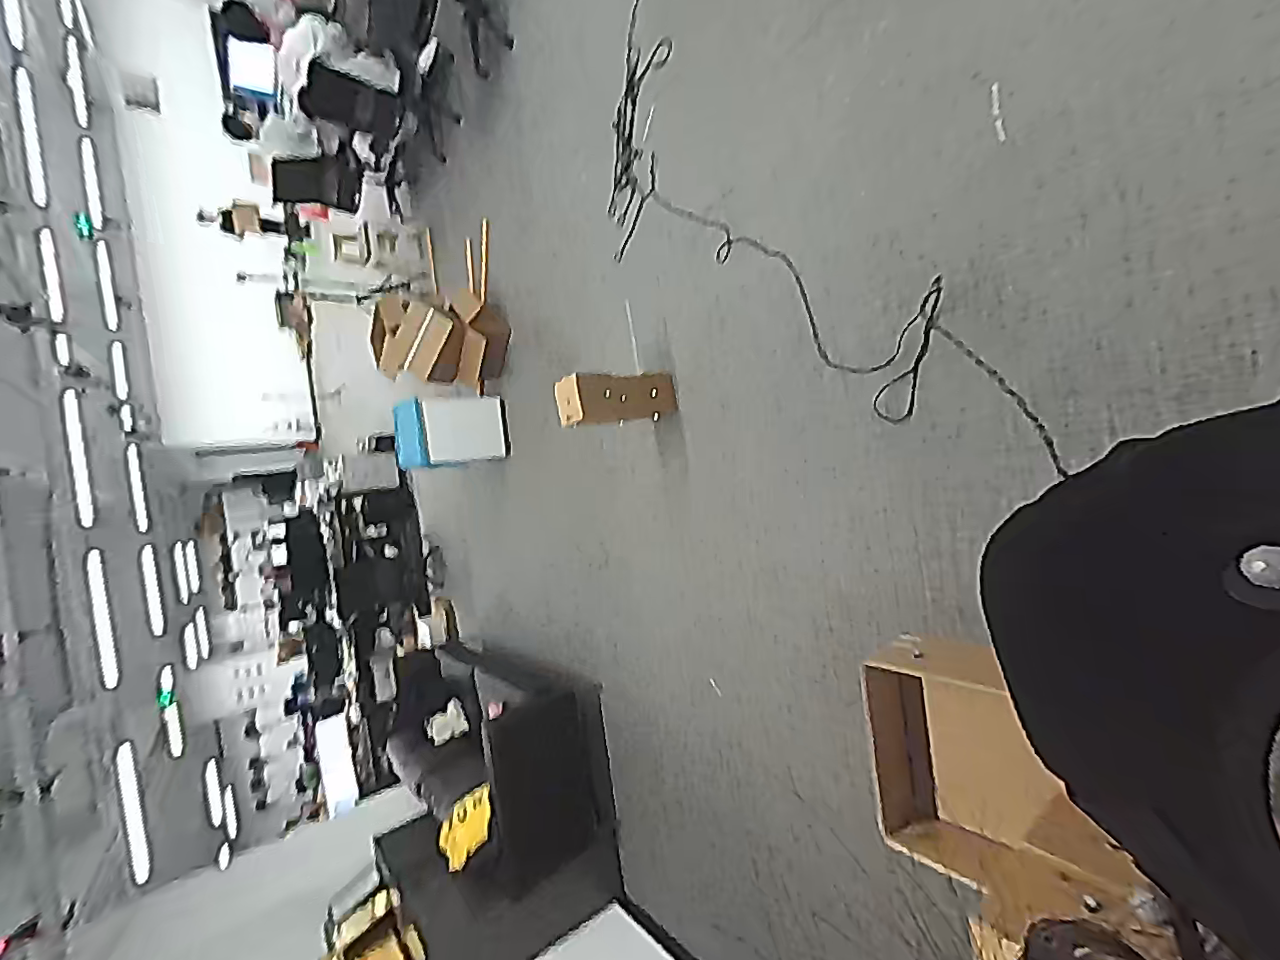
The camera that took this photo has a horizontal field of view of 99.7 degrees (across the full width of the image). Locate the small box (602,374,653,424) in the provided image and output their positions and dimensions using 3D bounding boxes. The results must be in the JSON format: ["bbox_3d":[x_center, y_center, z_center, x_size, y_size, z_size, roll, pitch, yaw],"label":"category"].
[{"bbox_3d":[-0.060,-0.337,2.246,0.168,0.176,0.179,-9,90,53],"label":"small box"}]

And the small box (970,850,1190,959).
[{"bbox_3d":[0.522,0.593,0.636,0.168,0.176,0.179,-8,89,54],"label":"small box"}]

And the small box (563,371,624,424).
[{"bbox_3d":[-0.183,-0.324,2.137,0.168,0.176,0.179,-12,86,54],"label":"small box"}]

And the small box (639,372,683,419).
[{"bbox_3d":[0.069,-0.367,2.342,0.168,0.176,0.179,-9,89,54],"label":"small box"}]
